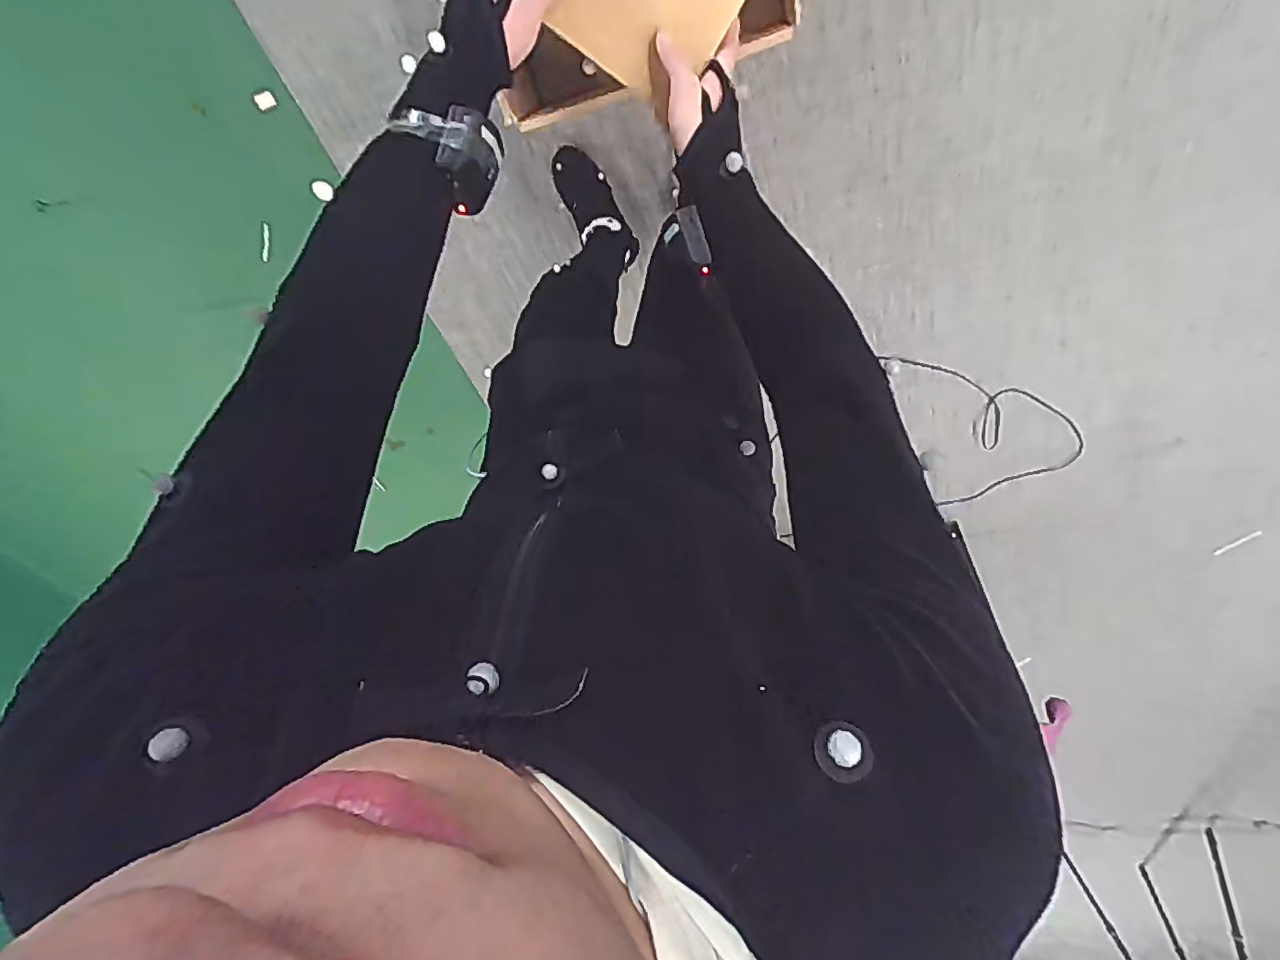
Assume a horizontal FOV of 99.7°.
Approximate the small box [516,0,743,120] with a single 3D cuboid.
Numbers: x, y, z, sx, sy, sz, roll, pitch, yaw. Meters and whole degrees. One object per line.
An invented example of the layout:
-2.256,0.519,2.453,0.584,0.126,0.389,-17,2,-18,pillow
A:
0.004,-0.498,0.520,0.179,0.176,0.168,26,130,-21,small box
